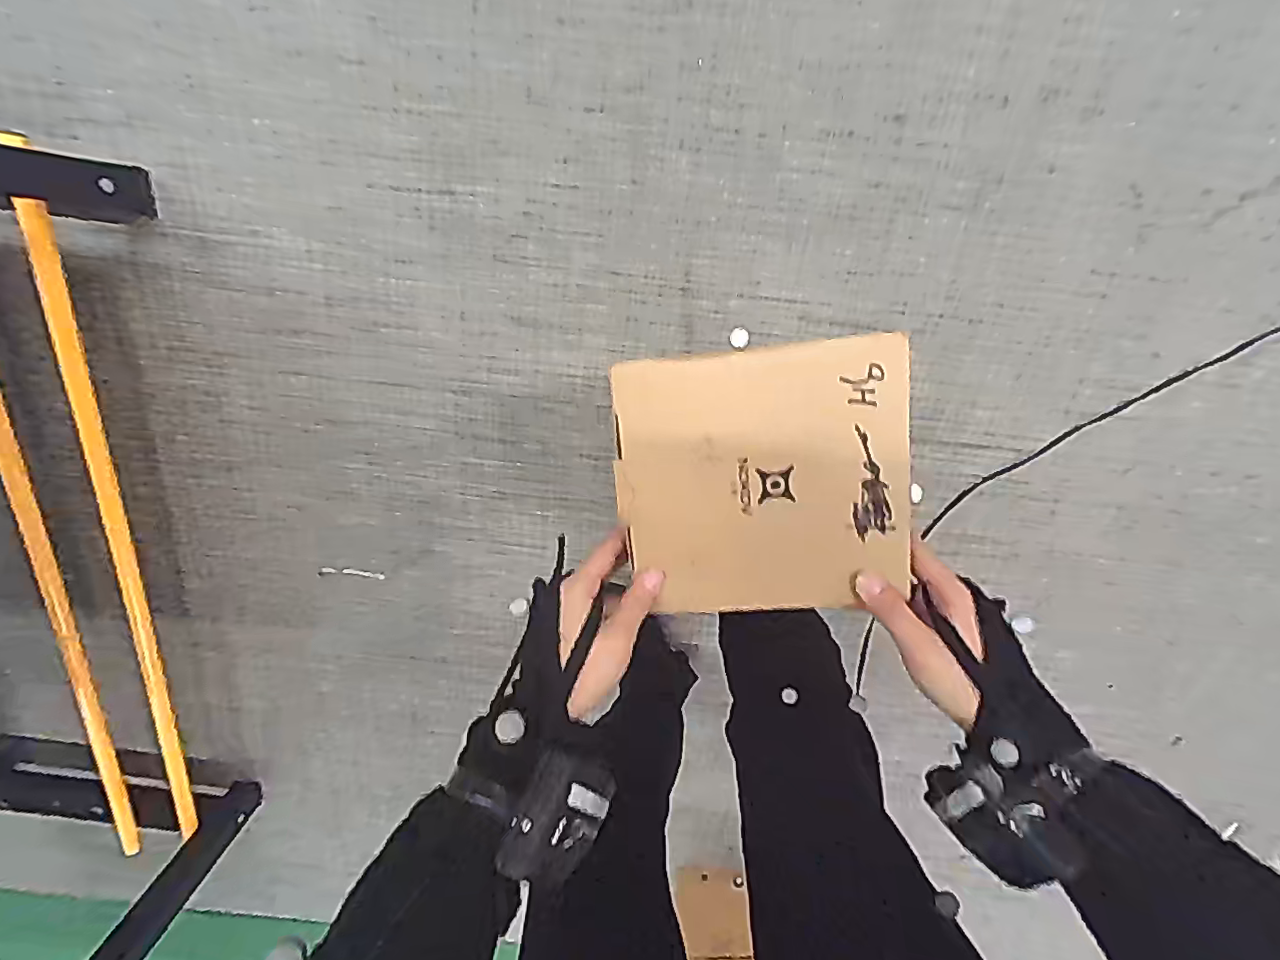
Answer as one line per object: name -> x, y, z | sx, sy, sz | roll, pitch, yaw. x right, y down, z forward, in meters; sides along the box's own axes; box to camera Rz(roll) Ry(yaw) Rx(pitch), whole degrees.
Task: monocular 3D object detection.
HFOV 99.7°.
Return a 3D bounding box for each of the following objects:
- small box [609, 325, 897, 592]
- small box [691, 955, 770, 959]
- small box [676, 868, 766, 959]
small box -> 0.083, -0.023, 0.421 | 0.179, 0.176, 0.168 | -4, 102, 8
small box -> 0.162, 0.994, 0.968 | 0.179, 0.176, 0.168 | -5, 113, 4
small box -> 0.162, 0.942, 1.122 | 0.168, 0.176, 0.179 | -2, 113, 4
